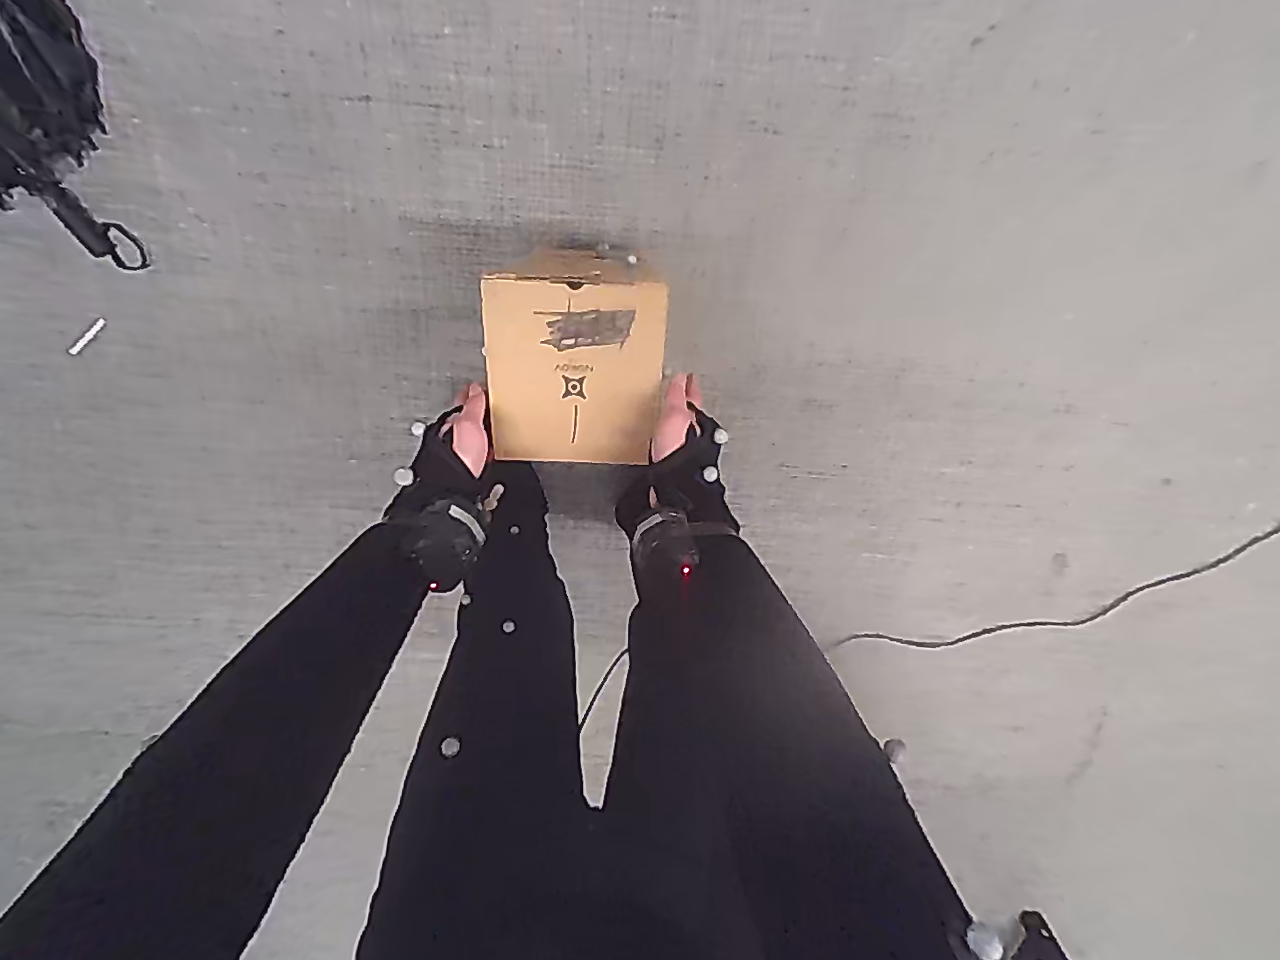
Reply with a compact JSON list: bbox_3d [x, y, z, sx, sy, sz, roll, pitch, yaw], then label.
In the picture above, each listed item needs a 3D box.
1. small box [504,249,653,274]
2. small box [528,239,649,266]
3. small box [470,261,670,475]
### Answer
[{"bbox_3d":[-0.070,-0.195,0.694,0.168,0.176,0.179,1,116,-2],"label":"small box"},{"bbox_3d":[-0.071,-0.271,0.838,0.168,0.176,0.179,1,117,0],"label":"small box"},{"bbox_3d":[-0.063,-0.120,0.547,0.168,0.176,0.179,2,118,-2],"label":"small box"}]
